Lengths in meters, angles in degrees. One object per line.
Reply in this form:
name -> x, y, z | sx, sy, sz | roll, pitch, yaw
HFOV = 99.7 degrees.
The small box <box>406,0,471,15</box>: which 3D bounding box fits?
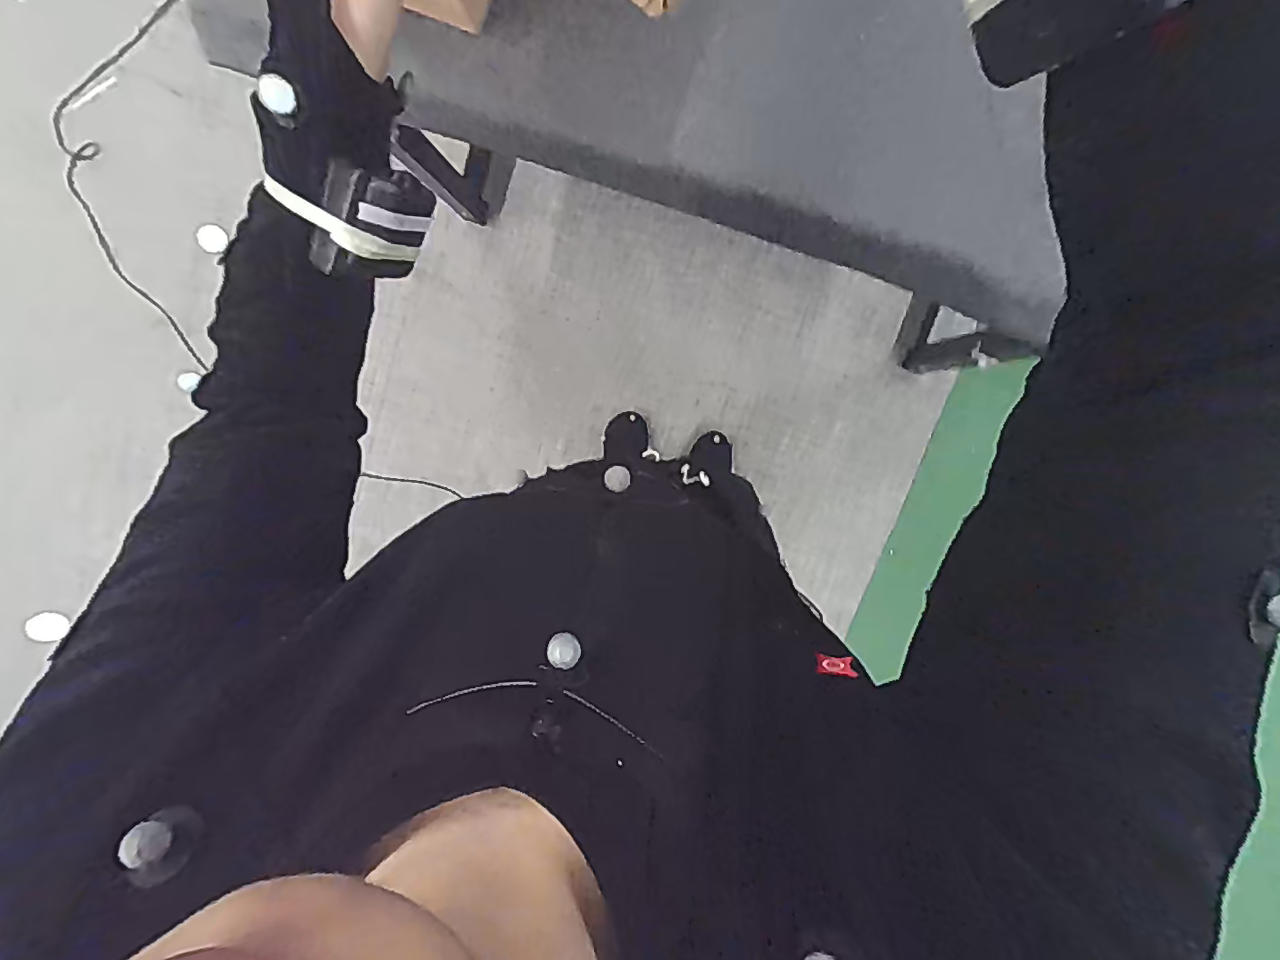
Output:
small box -> -0.229, -0.577, 0.483 | 0.179, 0.176, 0.168 | 21, 96, -1
